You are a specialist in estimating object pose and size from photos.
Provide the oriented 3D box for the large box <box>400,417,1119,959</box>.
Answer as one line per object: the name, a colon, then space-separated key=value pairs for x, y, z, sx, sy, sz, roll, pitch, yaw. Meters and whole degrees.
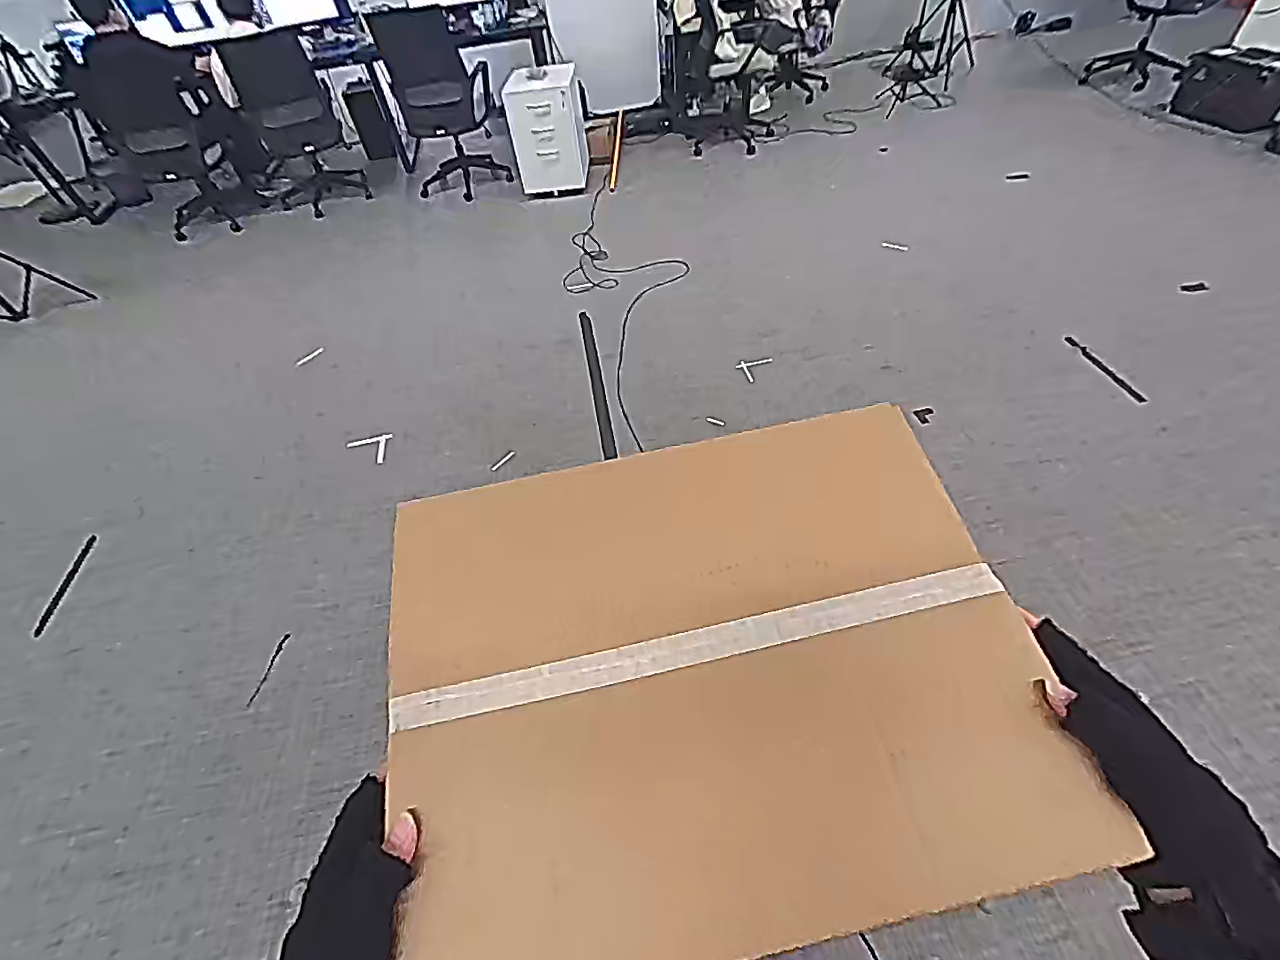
large box: x=0.052 y=0.193 z=0.486 sx=0.408 sy=0.320 sz=0.320 roll=-13 pitch=59 yaw=-2
